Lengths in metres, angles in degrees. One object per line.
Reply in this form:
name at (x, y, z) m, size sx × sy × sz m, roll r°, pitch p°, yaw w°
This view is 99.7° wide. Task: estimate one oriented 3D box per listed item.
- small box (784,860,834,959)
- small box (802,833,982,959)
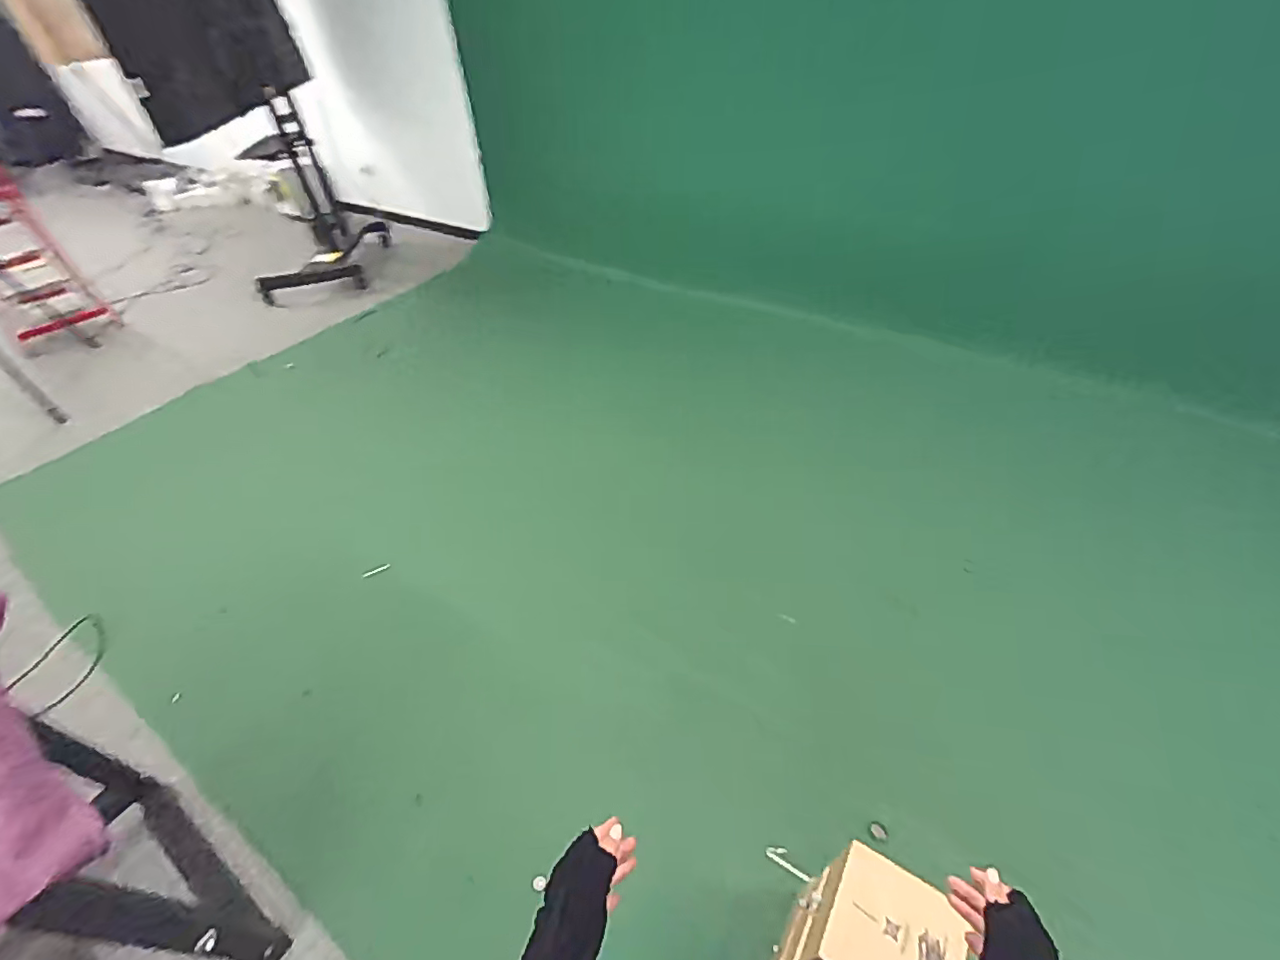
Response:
small box at (0.363, 0.803, 0.923) m, size 0.179 × 0.176 × 0.168 m, roll 24°, pitch 52°, yaw 25°
small box at (0.368, 0.680, 0.809) m, size 0.179 × 0.176 × 0.168 m, roll 26°, pitch 50°, yaw 26°
